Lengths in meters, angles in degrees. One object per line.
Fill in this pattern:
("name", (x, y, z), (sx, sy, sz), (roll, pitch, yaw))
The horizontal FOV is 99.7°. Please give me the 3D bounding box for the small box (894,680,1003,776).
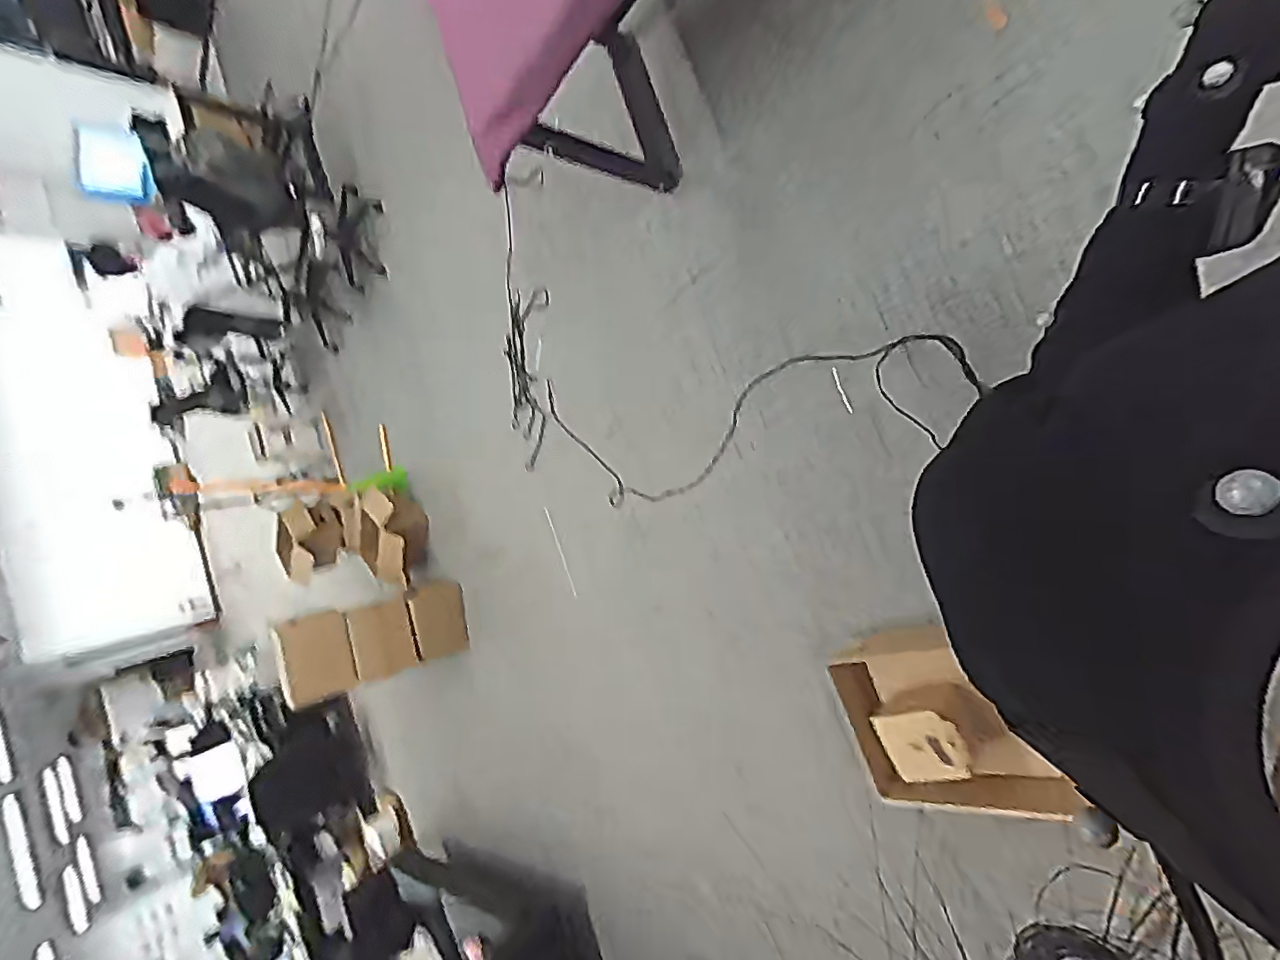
("small box", (0.798, 0.634, 1.389), (0.179, 0.176, 0.168), (-36, 73, 44))
